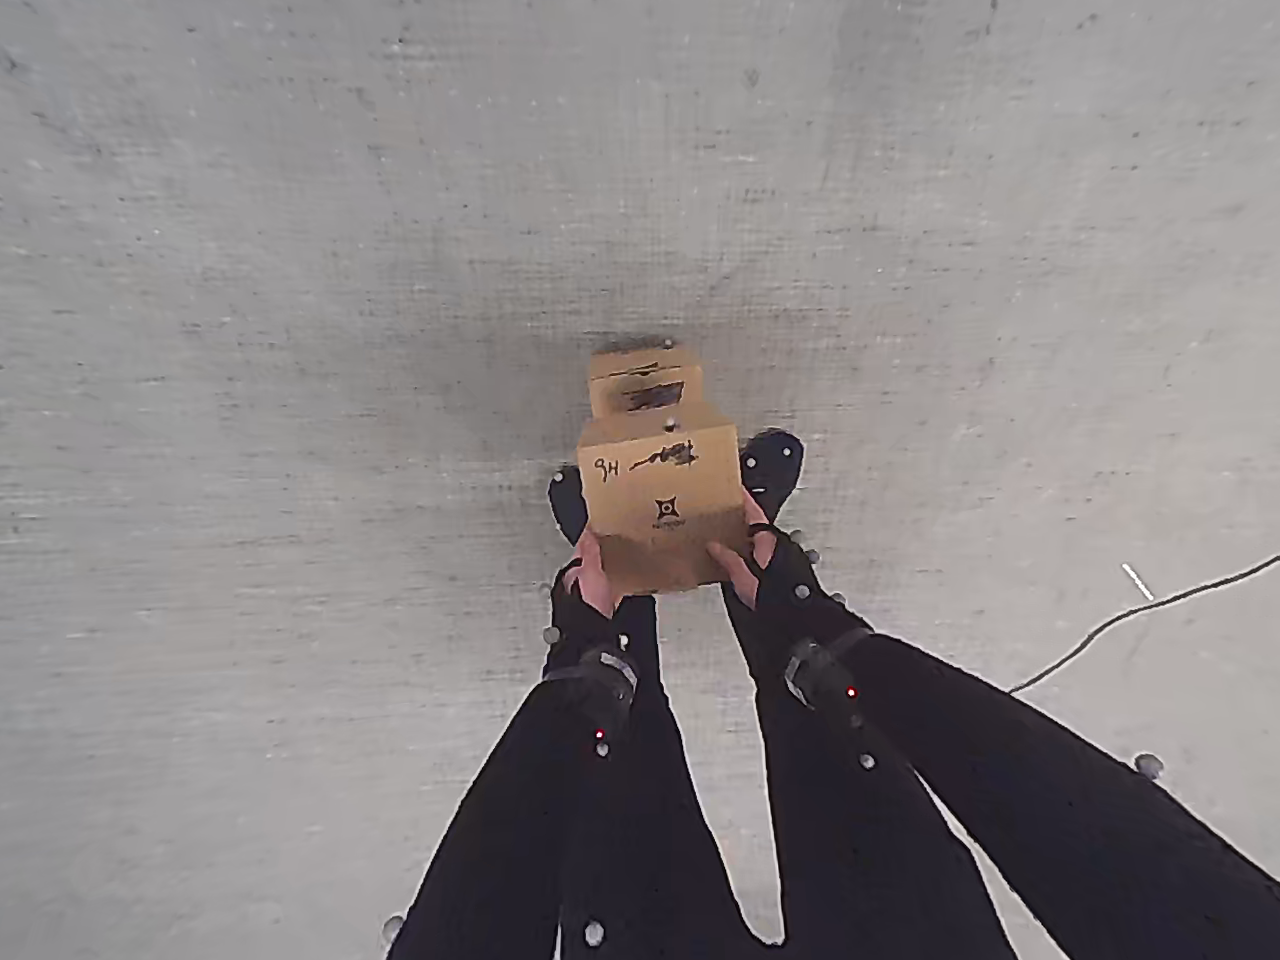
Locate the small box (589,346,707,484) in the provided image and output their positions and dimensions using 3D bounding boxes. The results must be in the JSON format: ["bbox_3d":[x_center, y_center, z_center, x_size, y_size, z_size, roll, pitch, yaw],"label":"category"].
[{"bbox_3d":[0.008,-0.114,0.873,0.168,0.176,0.179,-7,115,-1],"label":"small box"}]
